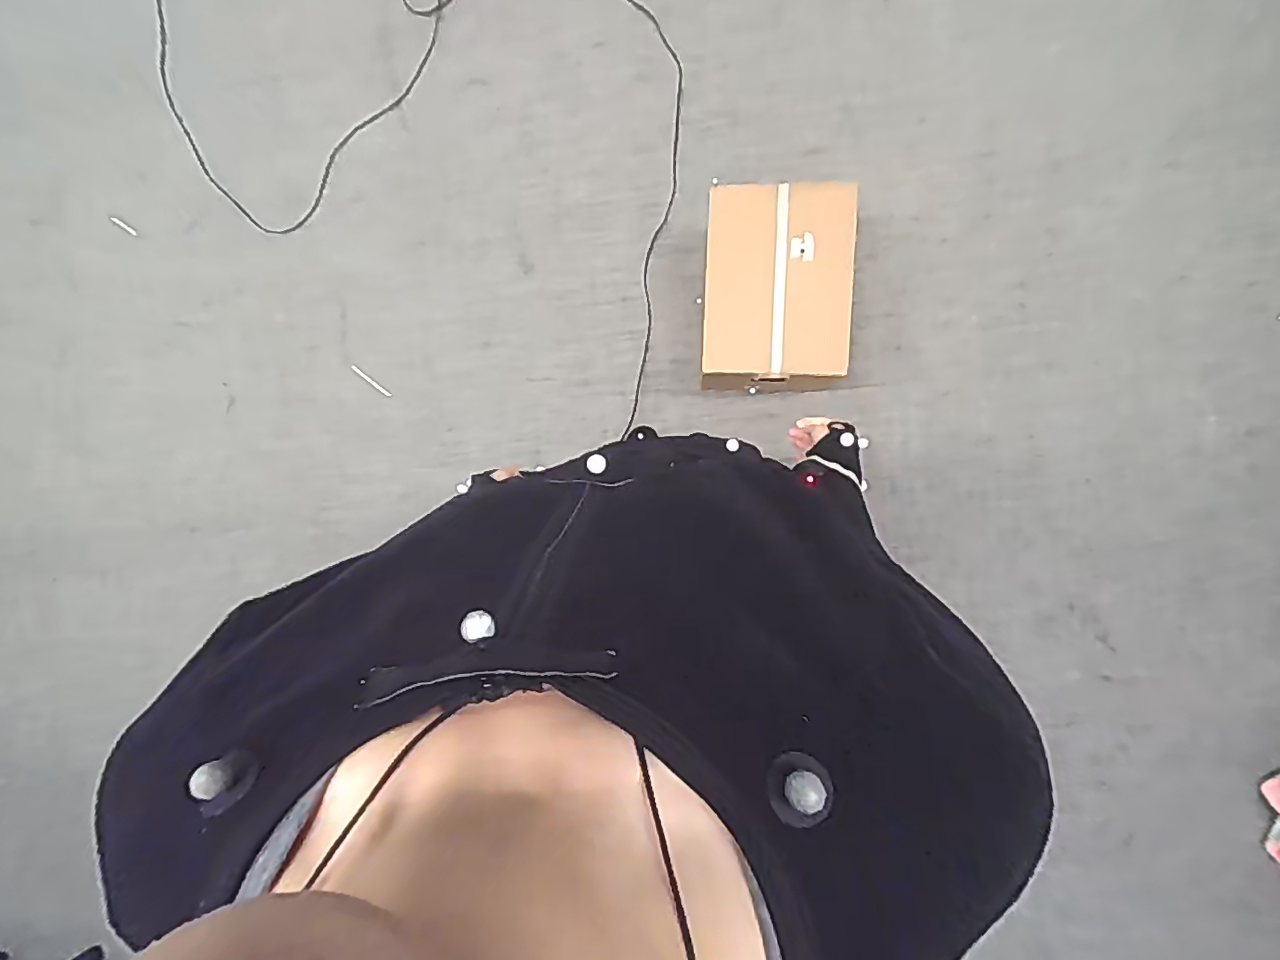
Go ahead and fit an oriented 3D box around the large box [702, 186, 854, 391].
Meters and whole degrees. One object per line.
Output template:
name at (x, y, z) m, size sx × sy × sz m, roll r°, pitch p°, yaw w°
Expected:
large box at (0.311, -0.433, 1.311) m, size 0.320 × 0.320 × 0.408 m, roll 3°, pitch 93°, yaw 5°
